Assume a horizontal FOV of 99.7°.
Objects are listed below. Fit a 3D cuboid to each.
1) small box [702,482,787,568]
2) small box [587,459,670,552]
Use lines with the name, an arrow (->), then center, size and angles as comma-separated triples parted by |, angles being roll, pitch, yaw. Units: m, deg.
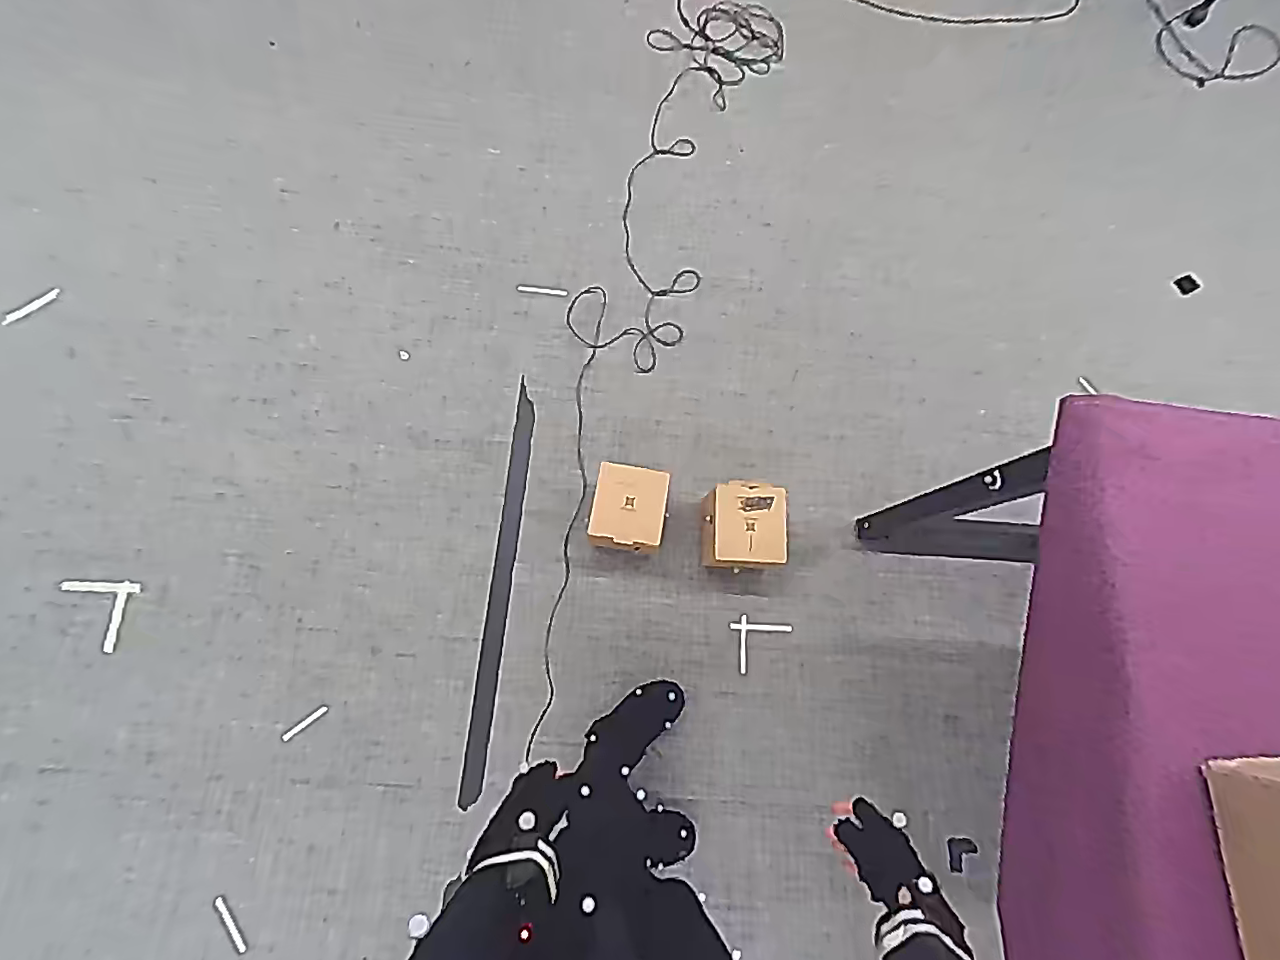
small box -> 0.245, 0.113, 1.298 | 0.168, 0.176, 0.179 | 3, 76, -3
small box -> -0.030, 0.068, 1.294 | 0.168, 0.176, 0.179 | 10, 74, -3
